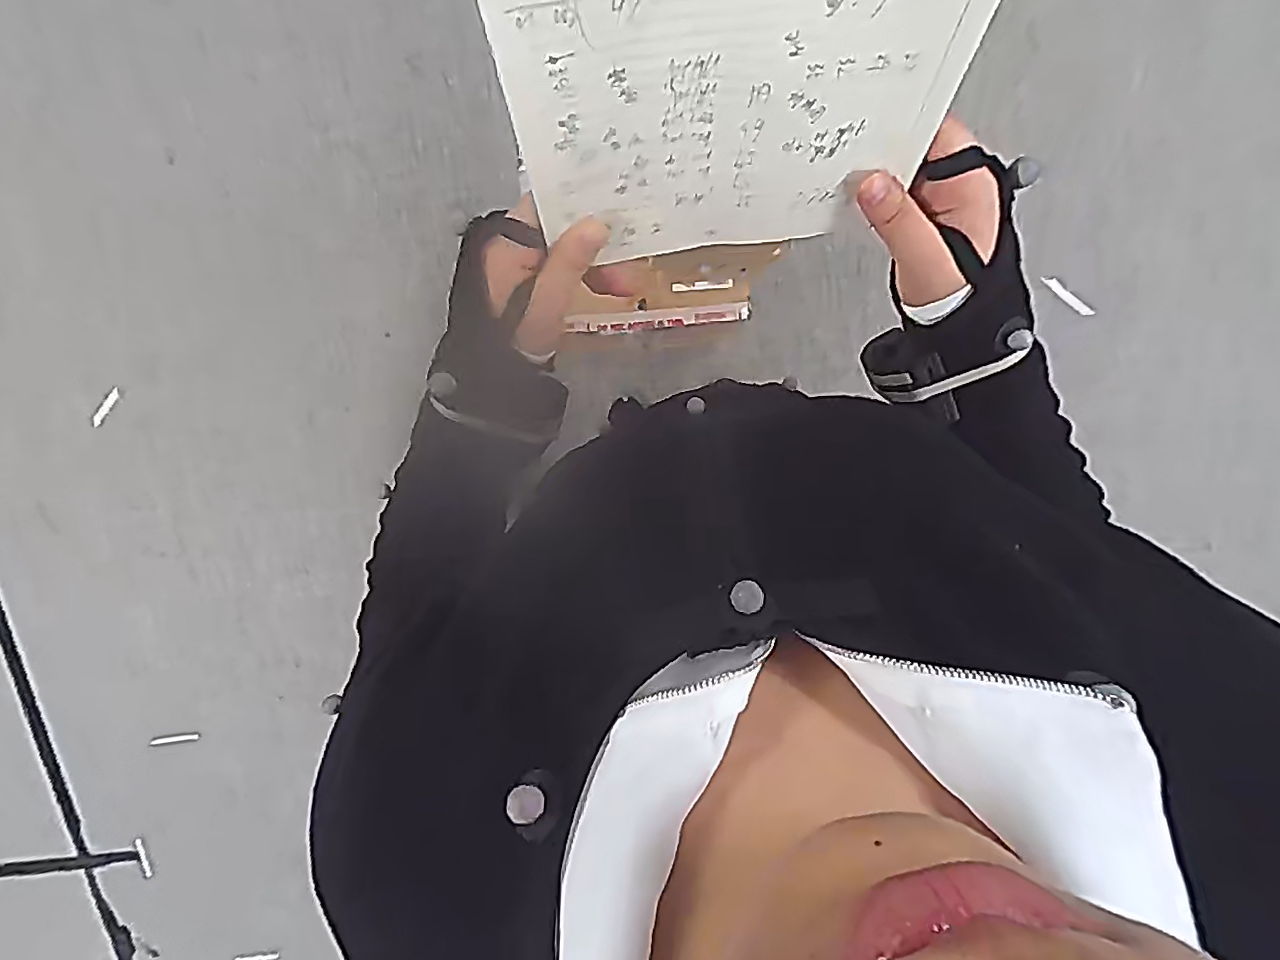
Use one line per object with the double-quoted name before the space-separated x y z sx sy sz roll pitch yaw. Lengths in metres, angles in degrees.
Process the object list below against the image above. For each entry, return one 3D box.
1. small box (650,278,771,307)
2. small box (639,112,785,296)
"small box" 0.102 -0.381 0.873 0.179 0.176 0.168 -6 100 1
"small box" 0.085 -0.348 0.712 0.168 0.176 0.179 -2 101 -1
